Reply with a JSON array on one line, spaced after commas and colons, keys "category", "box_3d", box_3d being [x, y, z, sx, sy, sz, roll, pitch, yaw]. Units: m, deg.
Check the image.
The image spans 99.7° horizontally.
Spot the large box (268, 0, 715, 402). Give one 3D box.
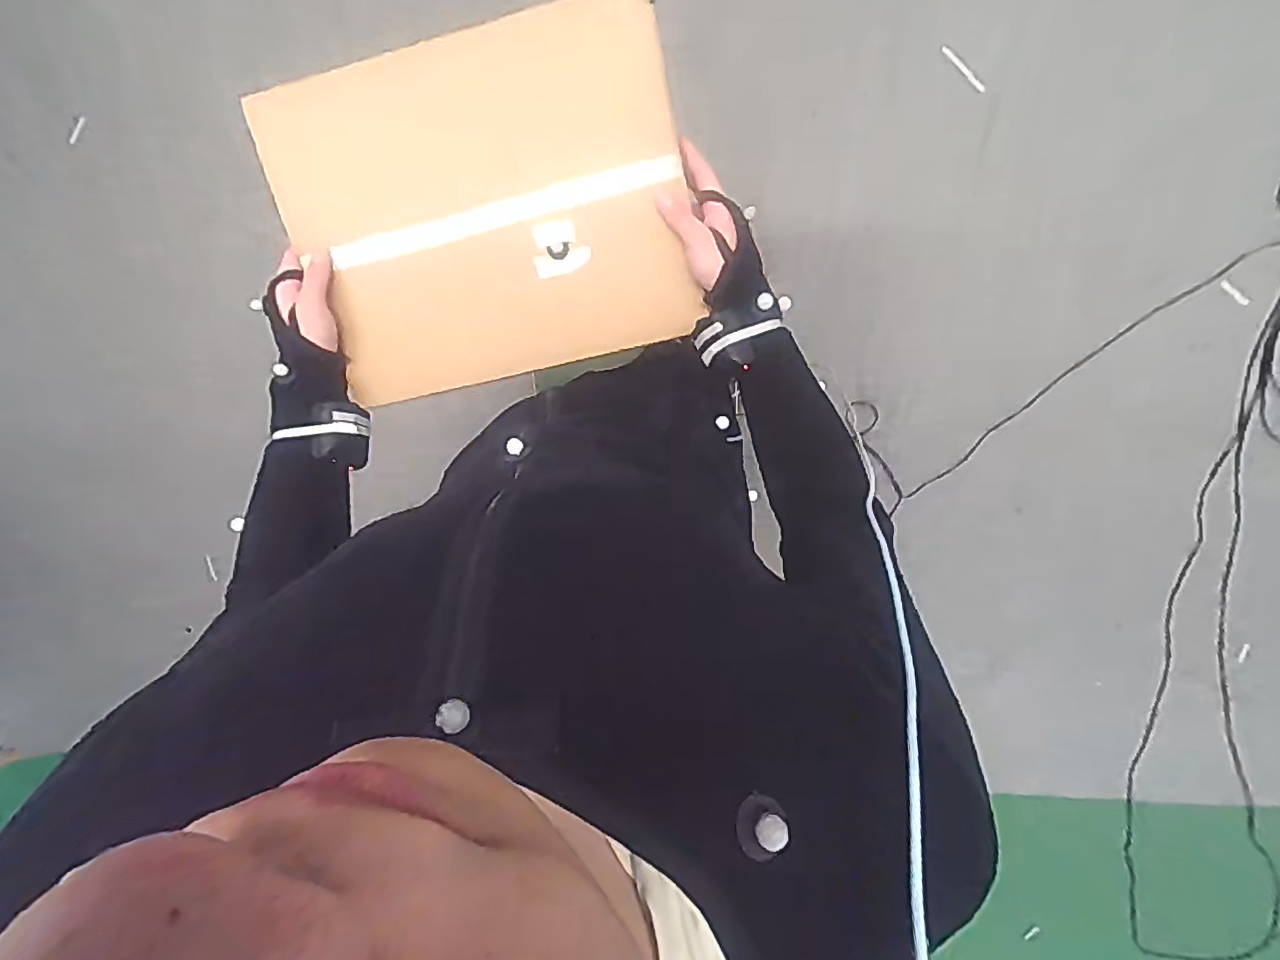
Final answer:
[{"category": "large box", "box_3d": [-0.142, -0.314, 0.699, 0.408, 0.320, 0.320, -12, 107, 5]}]
